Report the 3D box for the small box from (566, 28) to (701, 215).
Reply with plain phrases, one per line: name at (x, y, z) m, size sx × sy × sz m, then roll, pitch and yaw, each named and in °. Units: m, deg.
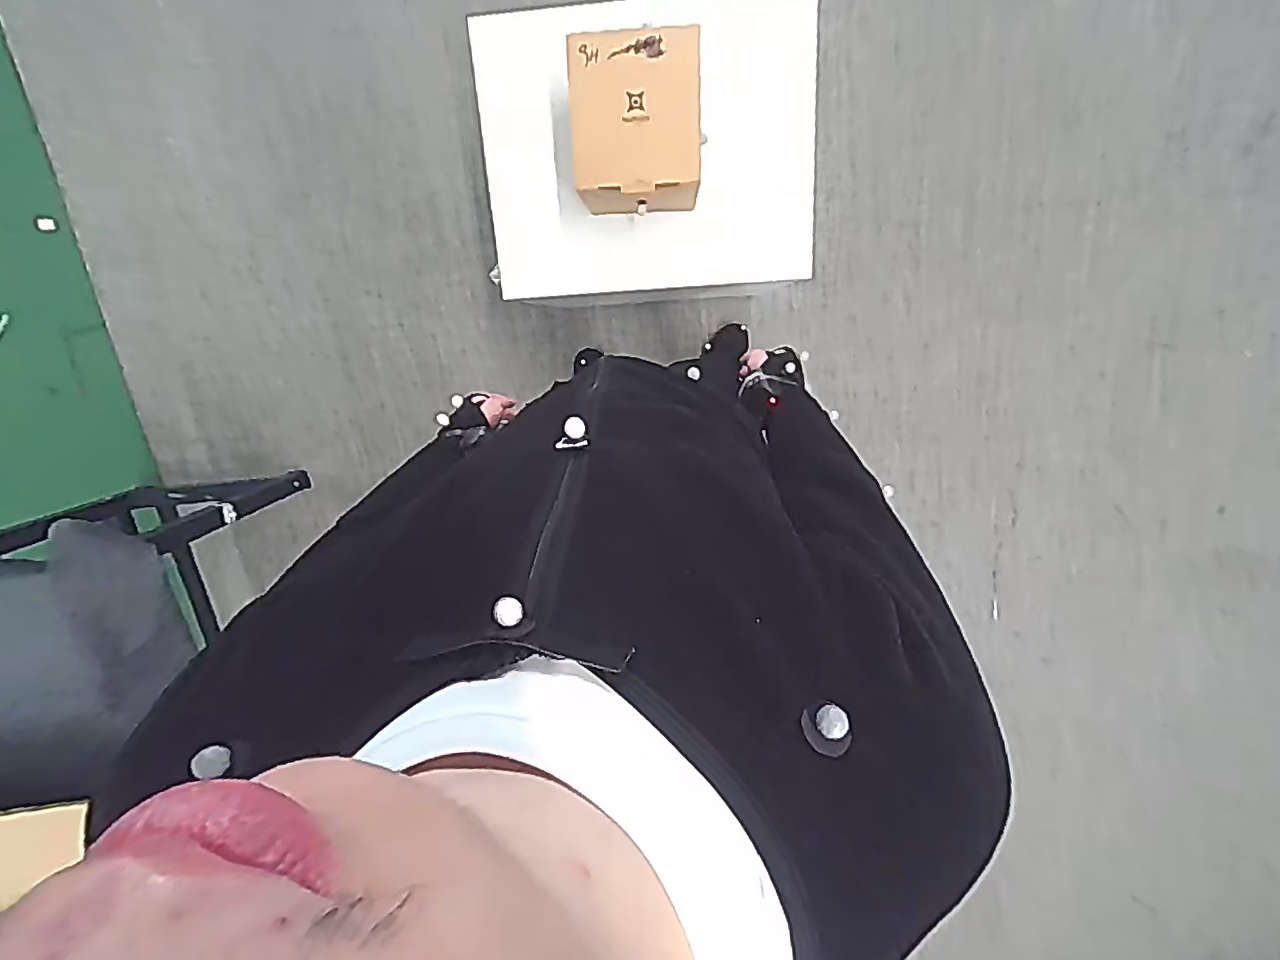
small box at (0.000, -0.481, 0.757) m, size 0.168 × 0.176 × 0.179 m, roll -3°, pitch 105°, yaw 4°
